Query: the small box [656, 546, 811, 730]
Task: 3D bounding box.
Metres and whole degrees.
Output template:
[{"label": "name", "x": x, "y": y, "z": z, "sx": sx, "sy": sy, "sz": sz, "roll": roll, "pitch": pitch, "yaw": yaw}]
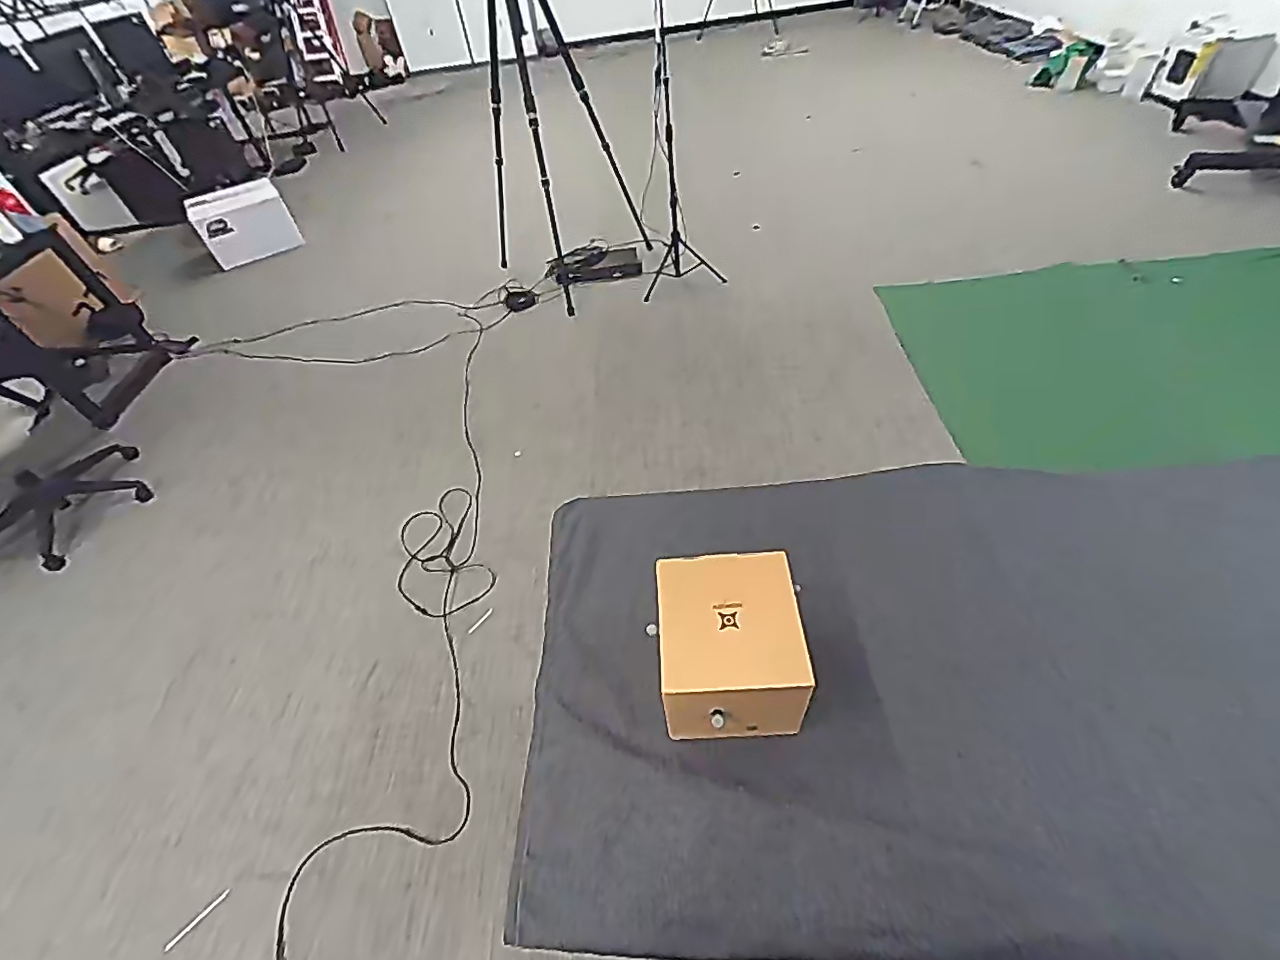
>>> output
[{"label": "small box", "x": 0.112, "y": 0.208, "z": 0.692, "sx": 0.168, "sy": 0.176, "sz": 0.179, "roll": -5, "pitch": 47, "yaw": 4}]
